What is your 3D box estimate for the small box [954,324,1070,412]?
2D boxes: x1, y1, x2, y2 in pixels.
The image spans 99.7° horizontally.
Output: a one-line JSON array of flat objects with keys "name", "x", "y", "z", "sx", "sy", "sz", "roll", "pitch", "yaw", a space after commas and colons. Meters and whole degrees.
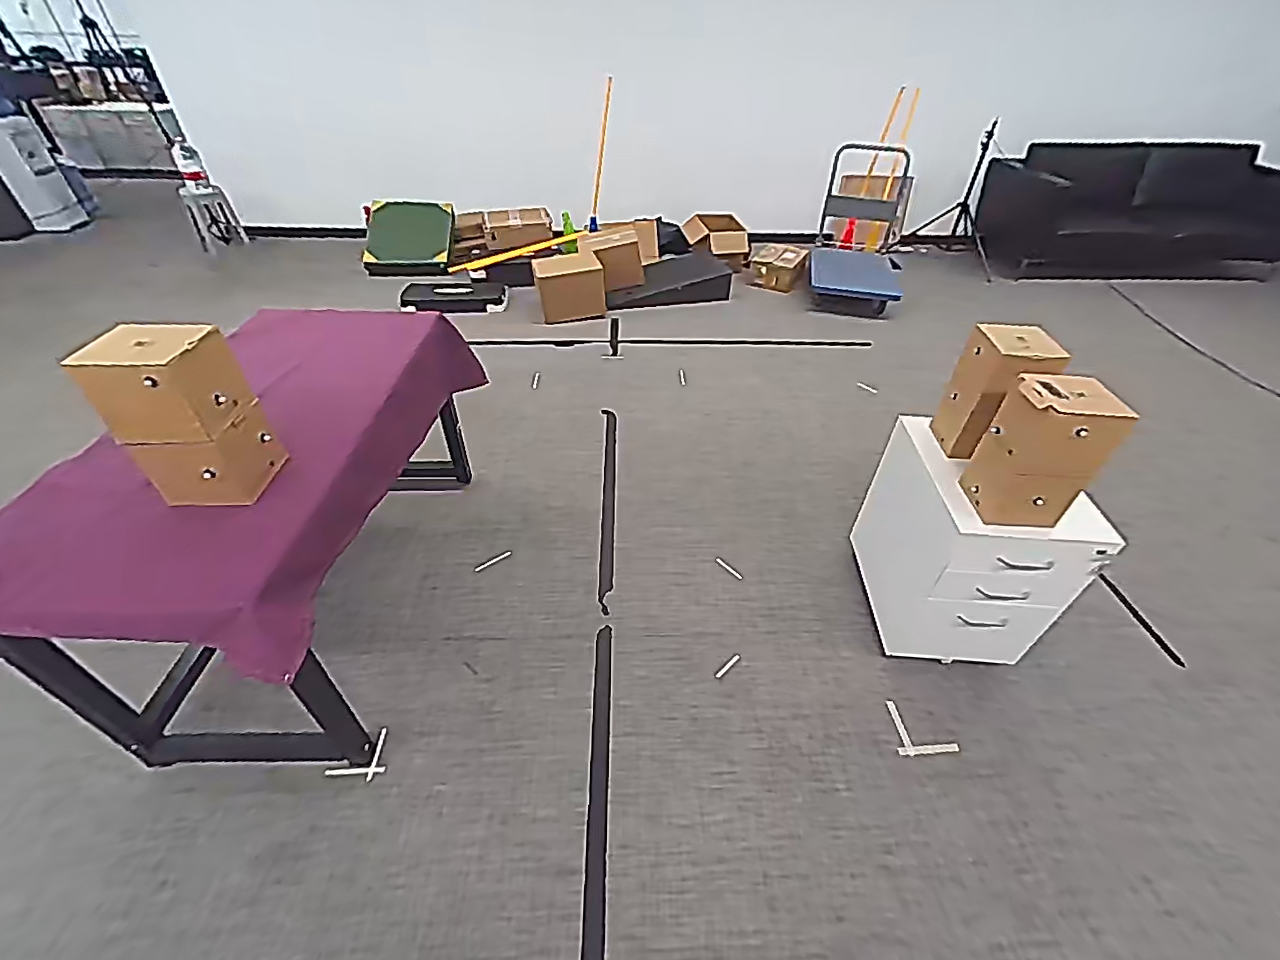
[{"name": "small box", "x": 0.966, "y": -0.293, "z": 1.427, "sx": 0.168, "sy": 0.176, "sz": 0.179, "roll": 4, "pitch": 41, "yaw": 3}]

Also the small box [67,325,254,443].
[{"name": "small box", "x": -0.892, "y": -0.183, "z": 1.029, "sx": 0.179, "sy": 0.176, "sz": 0.168, "roll": -1, "pitch": 40, "yaw": -4}]

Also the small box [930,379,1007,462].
[{"name": "small box", "x": 0.966, "y": -0.168, "z": 1.535, "sx": 0.179, "sy": 0.176, "sz": 0.168, "roll": 5, "pitch": 41, "yaw": 2}]

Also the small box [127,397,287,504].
[{"name": "small box", "x": -0.890, "y": -0.062, "z": 1.138, "sx": 0.179, "sy": 0.176, "sz": 0.168, "roll": 0, "pitch": 40, "yaw": -2}]

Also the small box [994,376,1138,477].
[{"name": "small box", "x": 0.948, "y": -0.121, "z": 1.231, "sx": 0.179, "sy": 0.176, "sz": 0.168, "roll": 3, "pitch": 41, "yaw": 0}]
